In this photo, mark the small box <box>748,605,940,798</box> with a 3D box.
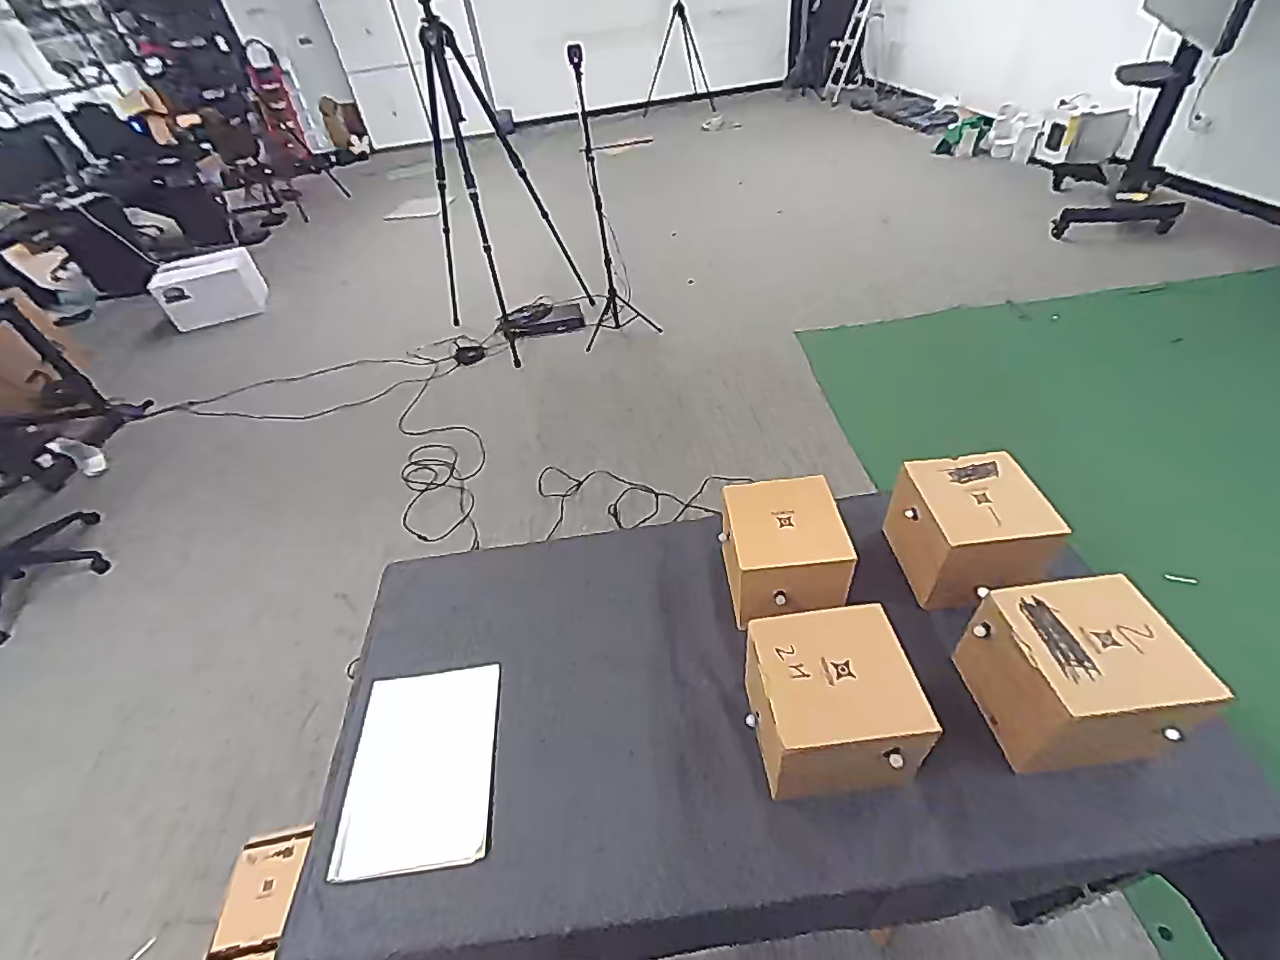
[{"bbox_3d":[0.241,0.284,0.692,0.179,0.176,0.168,-8,42,2],"label":"small box"}]

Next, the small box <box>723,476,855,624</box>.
[{"bbox_3d":[0.230,0.120,0.874,0.168,0.176,0.179,-6,43,3],"label":"small box"}]

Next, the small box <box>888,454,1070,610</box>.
[{"bbox_3d":[0.517,0.083,0.861,0.168,0.176,0.179,-7,43,3],"label":"small box"}]
